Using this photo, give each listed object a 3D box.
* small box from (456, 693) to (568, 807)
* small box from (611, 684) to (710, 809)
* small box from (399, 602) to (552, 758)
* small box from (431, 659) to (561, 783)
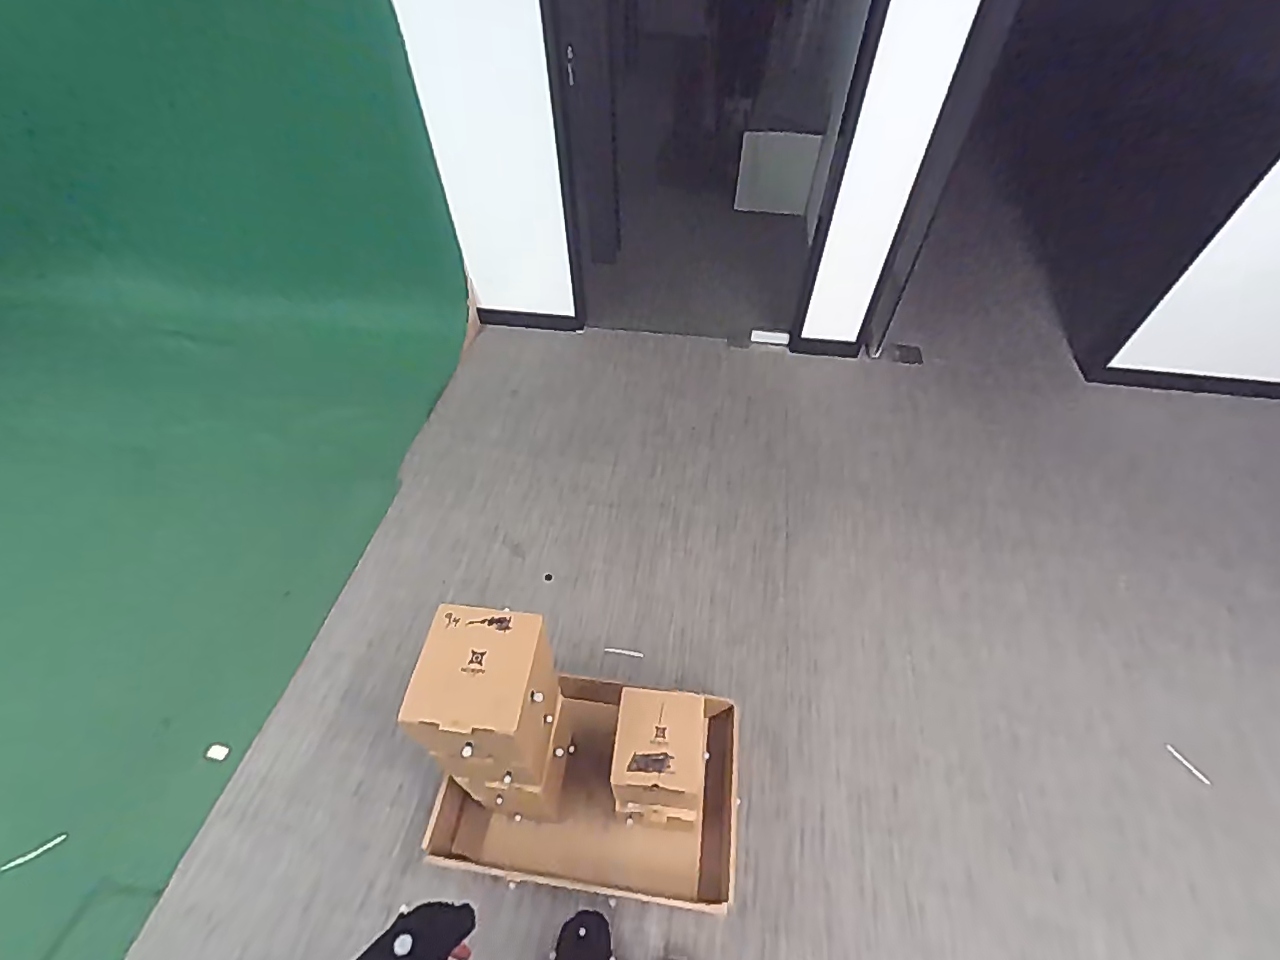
[{"bbox_3d":[-0.242,0.528,1.080,0.168,0.176,0.179,7,51,4],"label":"small box"},{"bbox_3d":[0.042,0.530,1.070,0.168,0.176,0.179,8,51,6],"label":"small box"},{"bbox_3d":[-0.236,0.312,0.834,0.168,0.176,0.179,6,51,2],"label":"small box"},{"bbox_3d":[-0.241,0.419,0.958,0.168,0.176,0.179,6,50,3],"label":"small box"}]
